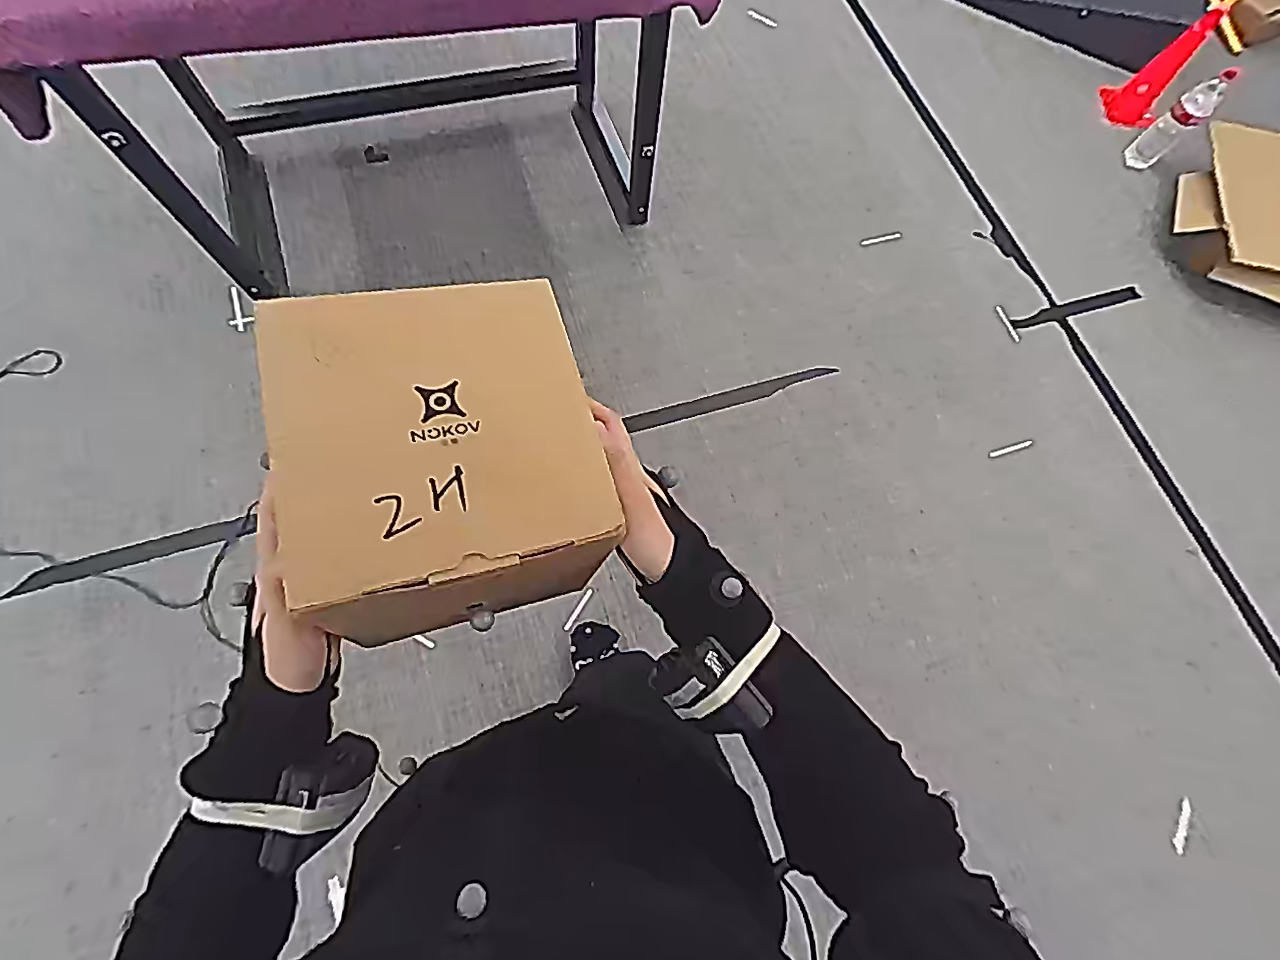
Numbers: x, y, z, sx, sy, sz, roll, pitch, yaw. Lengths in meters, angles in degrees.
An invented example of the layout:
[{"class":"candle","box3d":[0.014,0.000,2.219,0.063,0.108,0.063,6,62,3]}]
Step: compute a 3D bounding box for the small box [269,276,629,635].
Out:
[{"class":"small box","box3d":[-0.124,-0.009,0.369,0.168,0.176,0.179,-12,72,-19]}]
